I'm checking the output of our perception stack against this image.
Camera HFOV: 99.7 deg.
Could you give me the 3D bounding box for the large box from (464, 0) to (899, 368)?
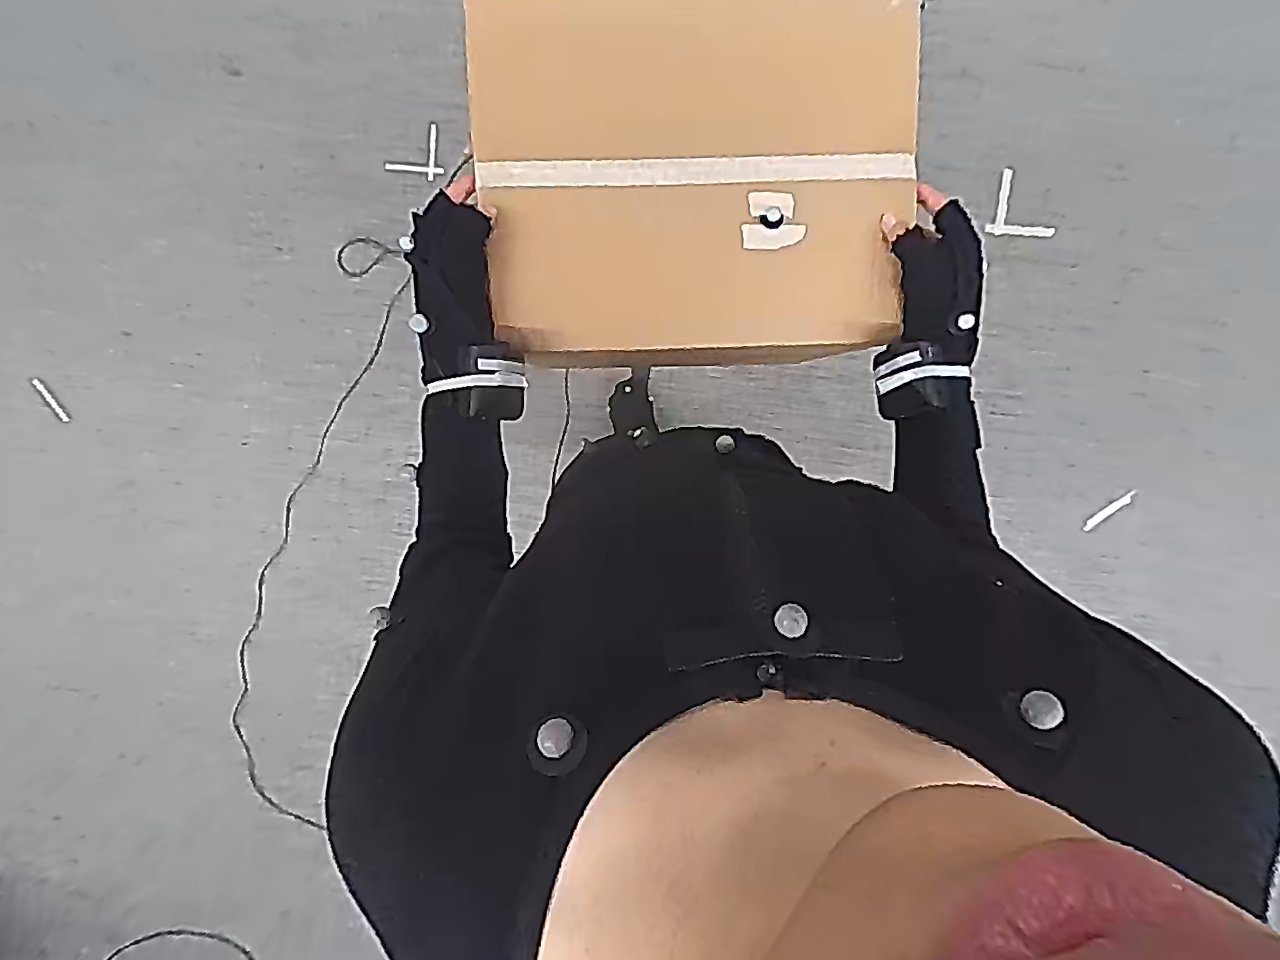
[{"bbox_3d":[0.039,-0.311,0.656,0.408,0.320,0.320,-2,99,-2],"label":"large box"}]
